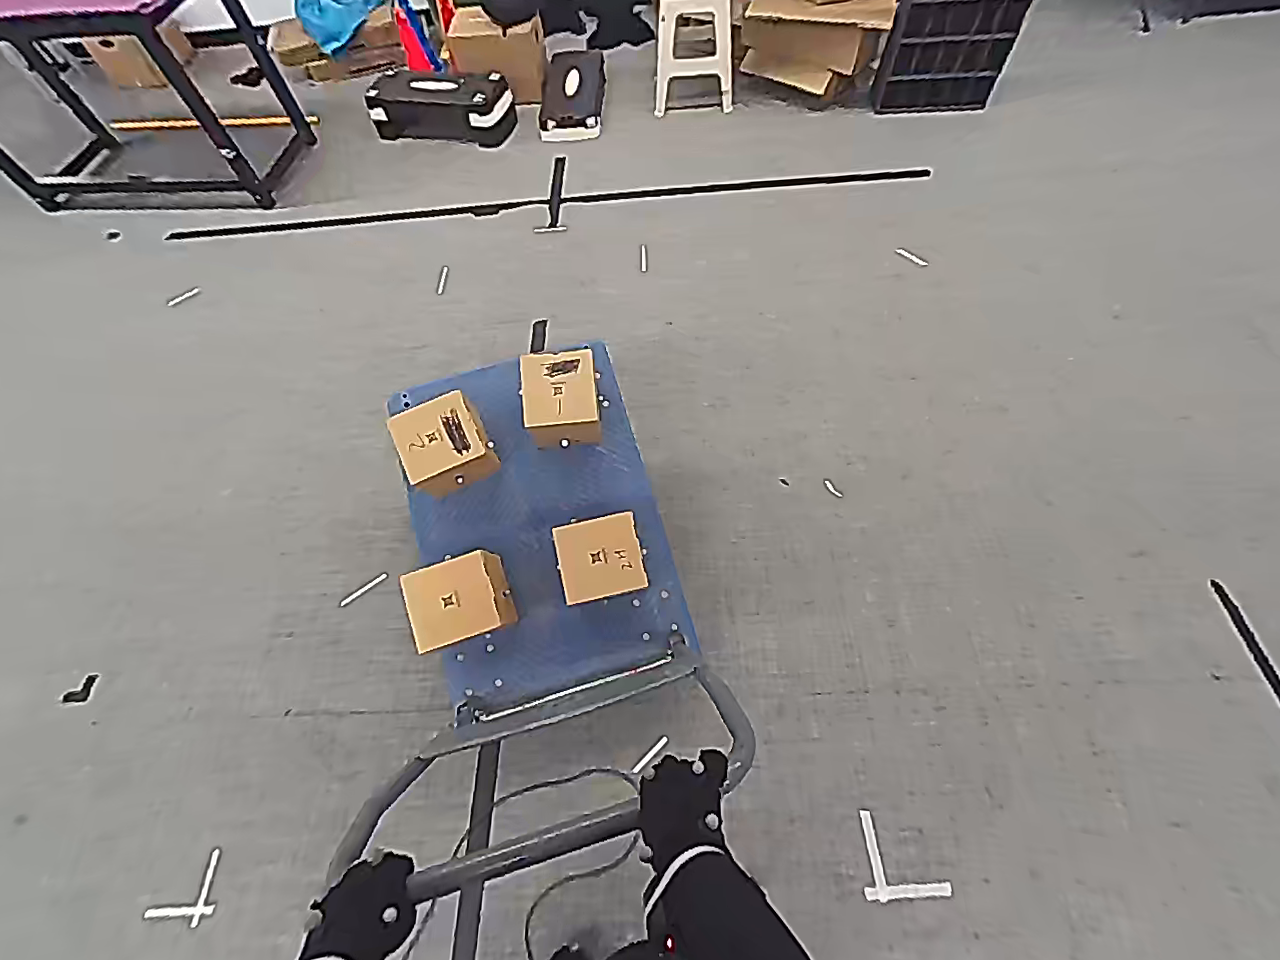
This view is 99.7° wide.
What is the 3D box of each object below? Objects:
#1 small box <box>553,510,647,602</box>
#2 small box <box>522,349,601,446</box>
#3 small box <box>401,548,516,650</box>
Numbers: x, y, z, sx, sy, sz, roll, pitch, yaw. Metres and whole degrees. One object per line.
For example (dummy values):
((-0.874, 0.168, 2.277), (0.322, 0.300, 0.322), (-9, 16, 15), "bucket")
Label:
((-0.085, 0.176, 1.208), (0.179, 0.176, 0.168), (-12, 78, -4), "small box")
((-0.183, -0.193, 1.290), (0.168, 0.176, 0.179), (-6, 78, -3), "small box")
((-0.389, 0.261, 1.182), (0.179, 0.176, 0.168), (-18, 78, -7), "small box")
